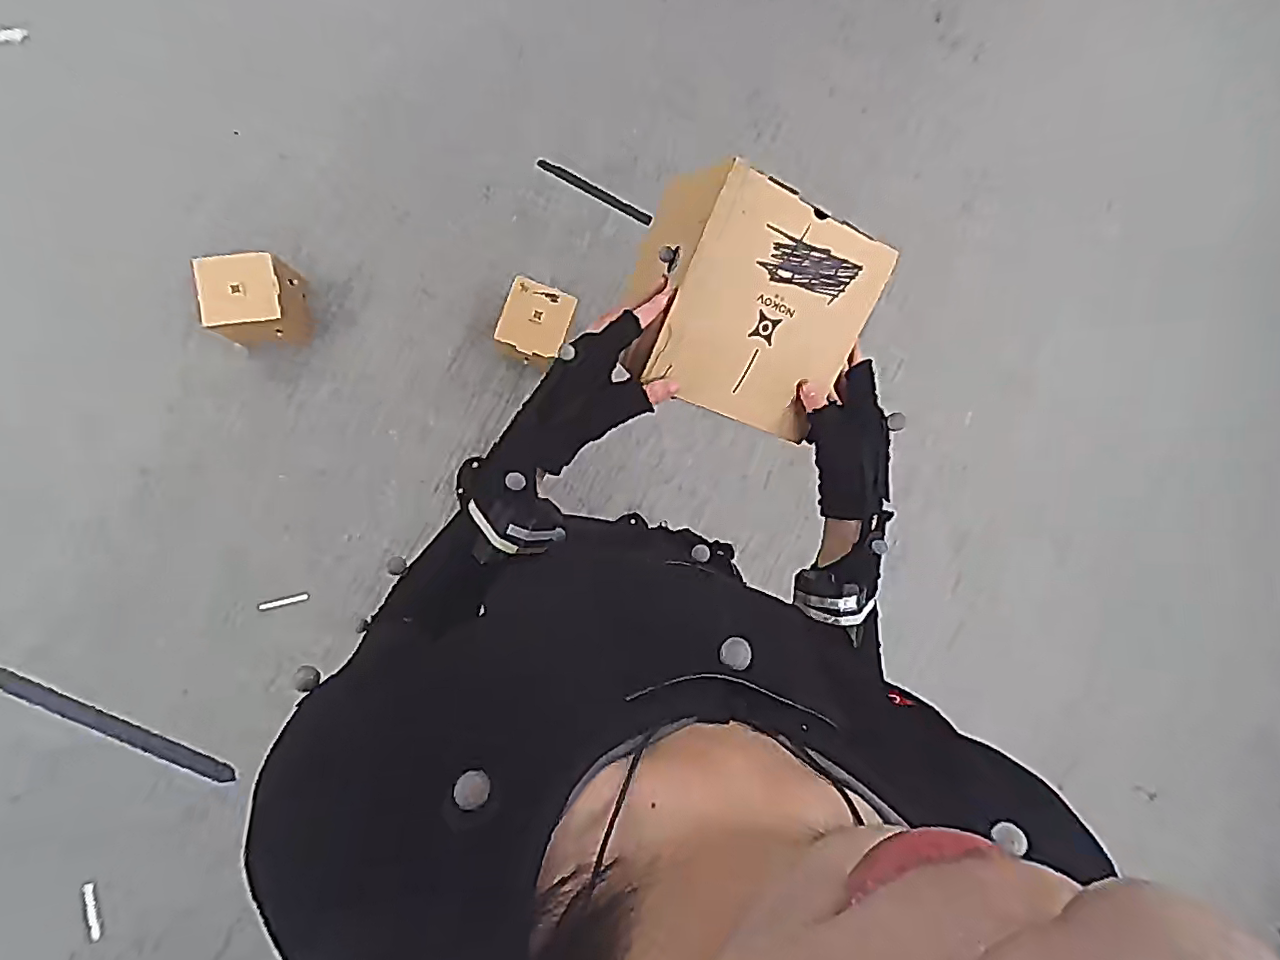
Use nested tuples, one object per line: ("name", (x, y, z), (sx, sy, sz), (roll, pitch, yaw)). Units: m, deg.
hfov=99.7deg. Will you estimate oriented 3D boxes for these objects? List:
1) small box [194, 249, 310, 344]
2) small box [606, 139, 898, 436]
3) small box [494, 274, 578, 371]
("small box", (-0.946, -0.448, 1.339), (0.179, 0.176, 0.168), (-9, 88, -7))
("small box", (0.082, -0.168, 0.492), (0.168, 0.176, 0.179), (17, 108, -22))
("small box", (-0.266, -0.404, 1.424), (0.168, 0.176, 0.179), (20, 87, -7))
